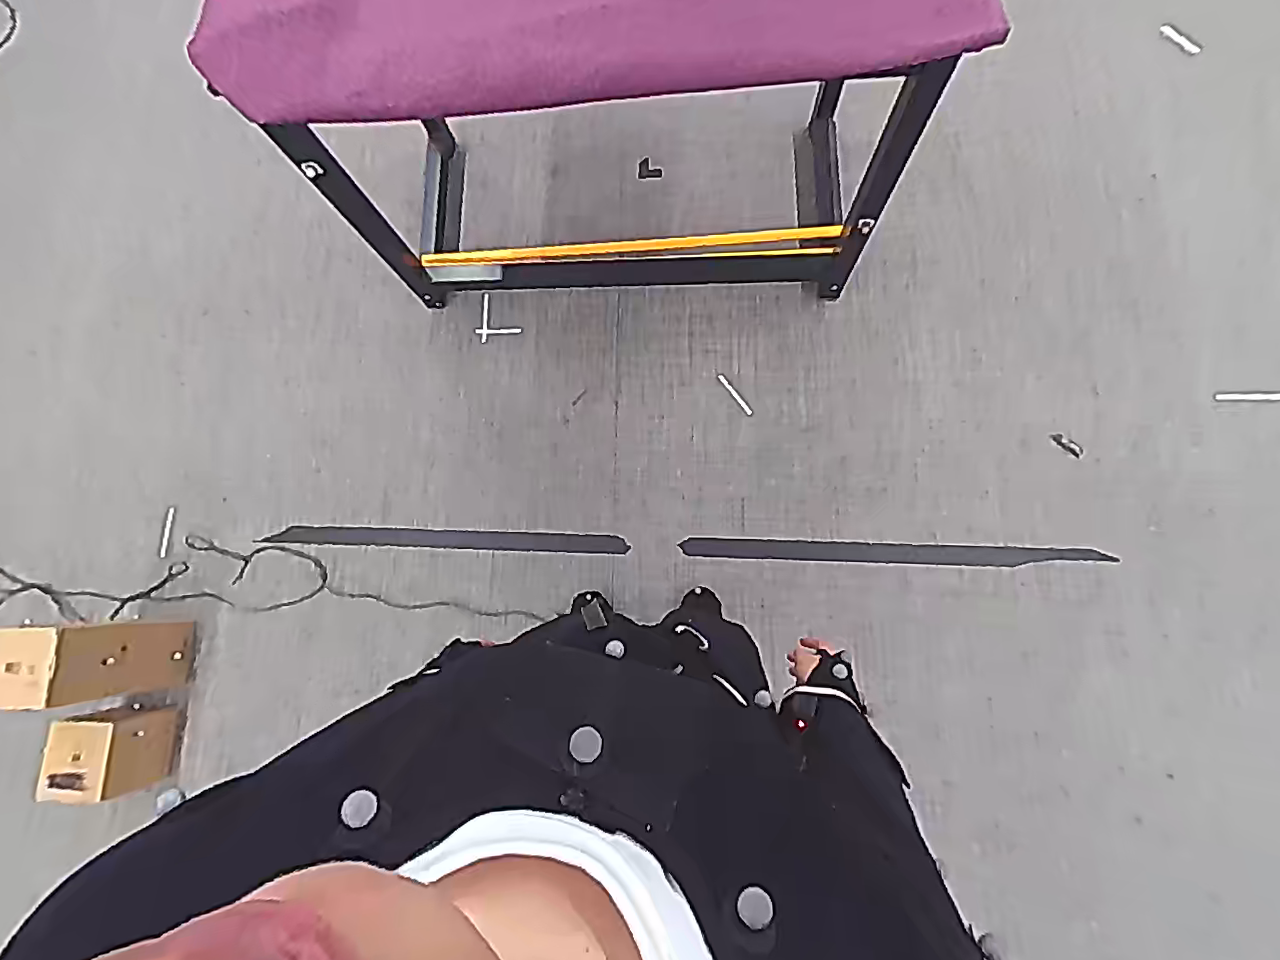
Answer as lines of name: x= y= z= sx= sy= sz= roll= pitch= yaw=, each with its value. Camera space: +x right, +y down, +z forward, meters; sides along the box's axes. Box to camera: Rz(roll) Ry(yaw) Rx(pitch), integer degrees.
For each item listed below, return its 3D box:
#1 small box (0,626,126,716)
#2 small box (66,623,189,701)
small box: x=-1.303 y=0.413 z=1.187 sx=0.179 sy=0.176 sz=0.168 roll=-1 pitch=79 yaw=3
small box: x=-1.292 y=0.447 z=1.348 sx=0.179 sy=0.176 sz=0.168 roll=0 pitch=79 yaw=3
